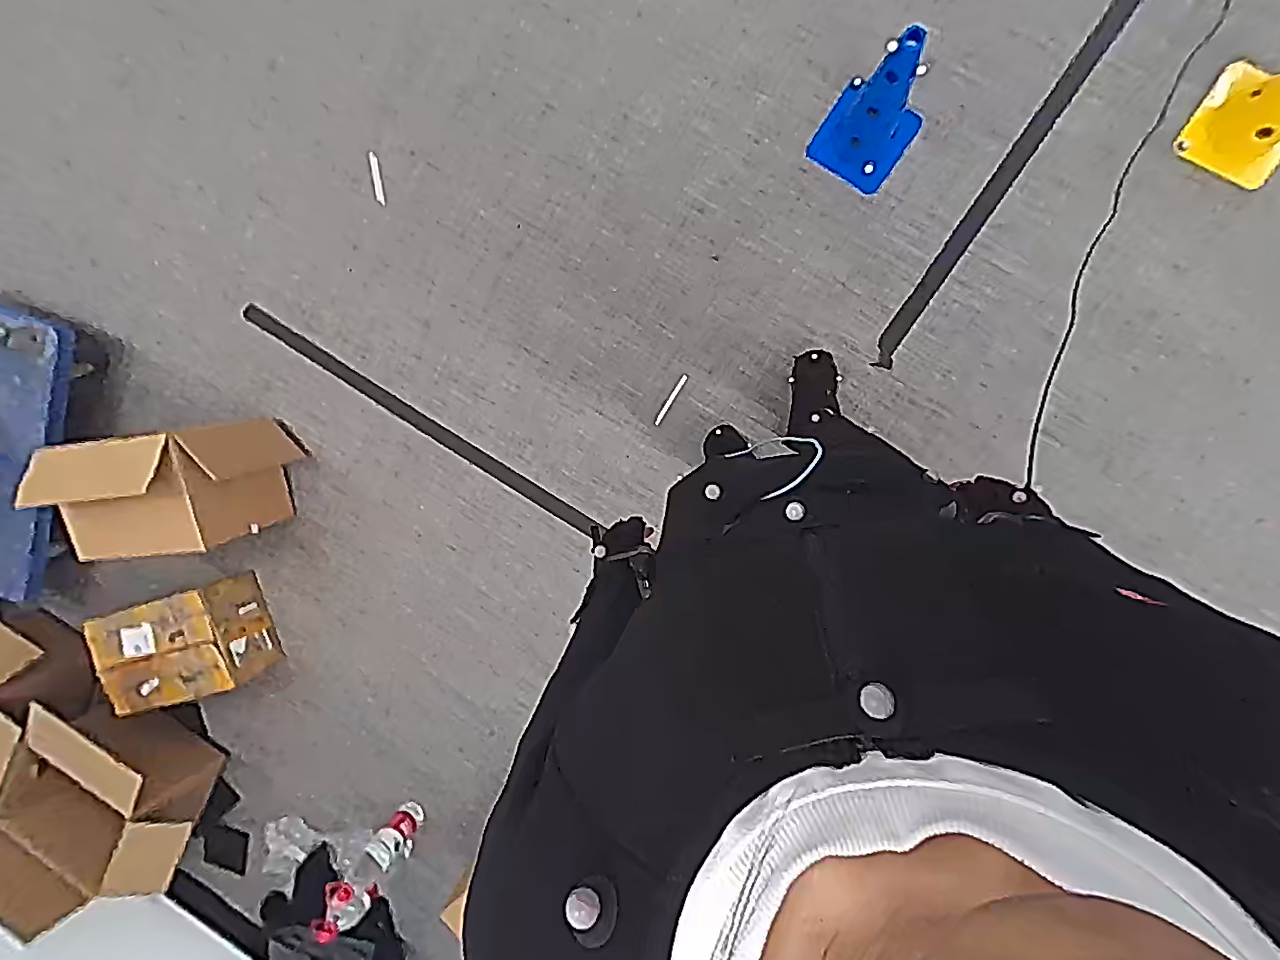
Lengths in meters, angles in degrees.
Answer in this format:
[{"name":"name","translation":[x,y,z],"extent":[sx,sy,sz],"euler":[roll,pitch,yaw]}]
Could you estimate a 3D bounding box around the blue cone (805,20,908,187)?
[{"name":"blue cone","translation":[0.485,-0.795,1.117],"extent":[0.192,0.380,0.193],"euler":[37,101,4]}]
